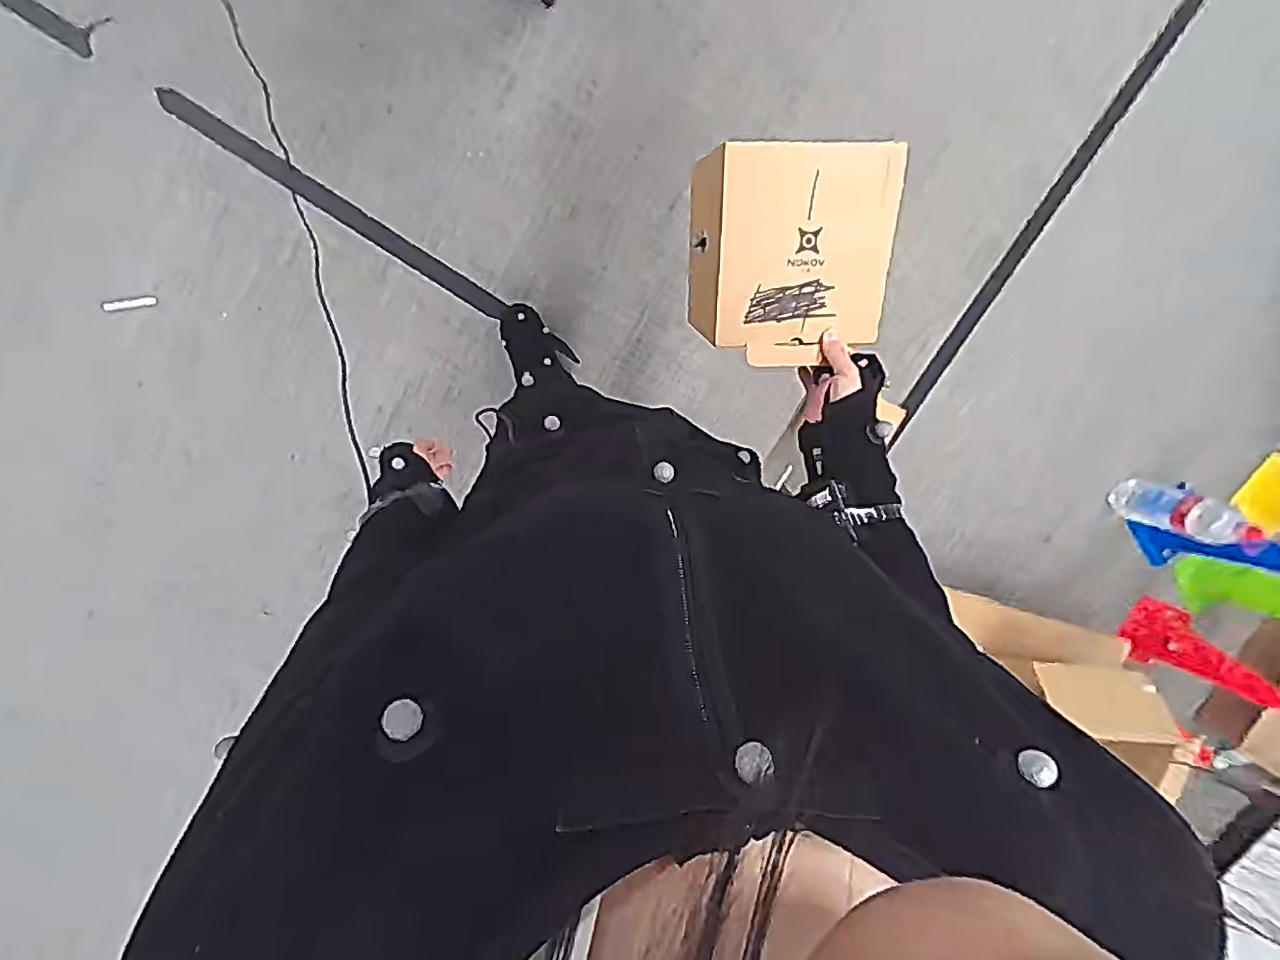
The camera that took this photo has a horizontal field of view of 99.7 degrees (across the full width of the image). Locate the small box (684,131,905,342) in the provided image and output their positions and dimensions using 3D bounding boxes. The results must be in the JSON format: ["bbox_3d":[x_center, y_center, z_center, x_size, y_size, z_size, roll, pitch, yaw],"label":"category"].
[{"bbox_3d":[0.141,-0.250,0.565,0.168,0.176,0.179,-4,114,-4],"label":"small box"}]

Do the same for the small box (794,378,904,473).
[{"bbox_3d":[0.511,-0.143,1.360,0.168,0.176,0.179,25,100,-11],"label":"small box"}]
